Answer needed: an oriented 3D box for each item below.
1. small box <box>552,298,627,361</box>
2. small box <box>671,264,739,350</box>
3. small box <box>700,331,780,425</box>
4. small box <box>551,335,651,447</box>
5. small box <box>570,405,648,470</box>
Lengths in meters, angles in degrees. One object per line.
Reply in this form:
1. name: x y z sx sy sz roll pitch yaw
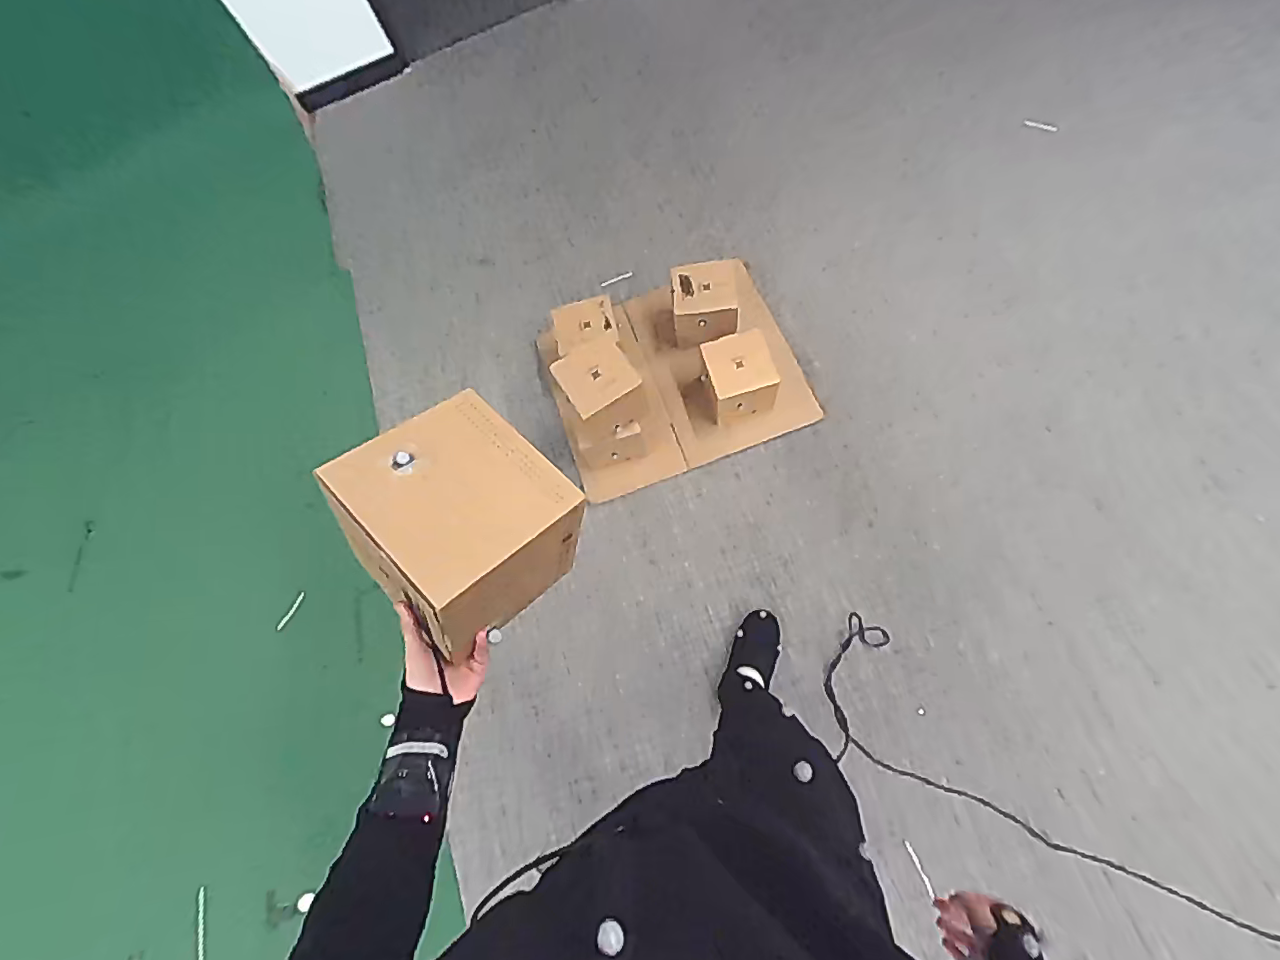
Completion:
1. small box: -0.141 -0.393 1.577 0.179 0.176 0.168 -14 69 4
2. small box: 0.187 -0.491 1.556 0.179 0.176 0.168 -5 70 5
3. small box: 0.267 -0.265 1.465 0.168 0.176 0.179 -16 68 2
4. small box: -0.090 -0.212 1.328 0.168 0.176 0.179 -32 69 -3
5. small box: -0.082 -0.141 1.477 0.168 0.176 0.179 -15 69 3
